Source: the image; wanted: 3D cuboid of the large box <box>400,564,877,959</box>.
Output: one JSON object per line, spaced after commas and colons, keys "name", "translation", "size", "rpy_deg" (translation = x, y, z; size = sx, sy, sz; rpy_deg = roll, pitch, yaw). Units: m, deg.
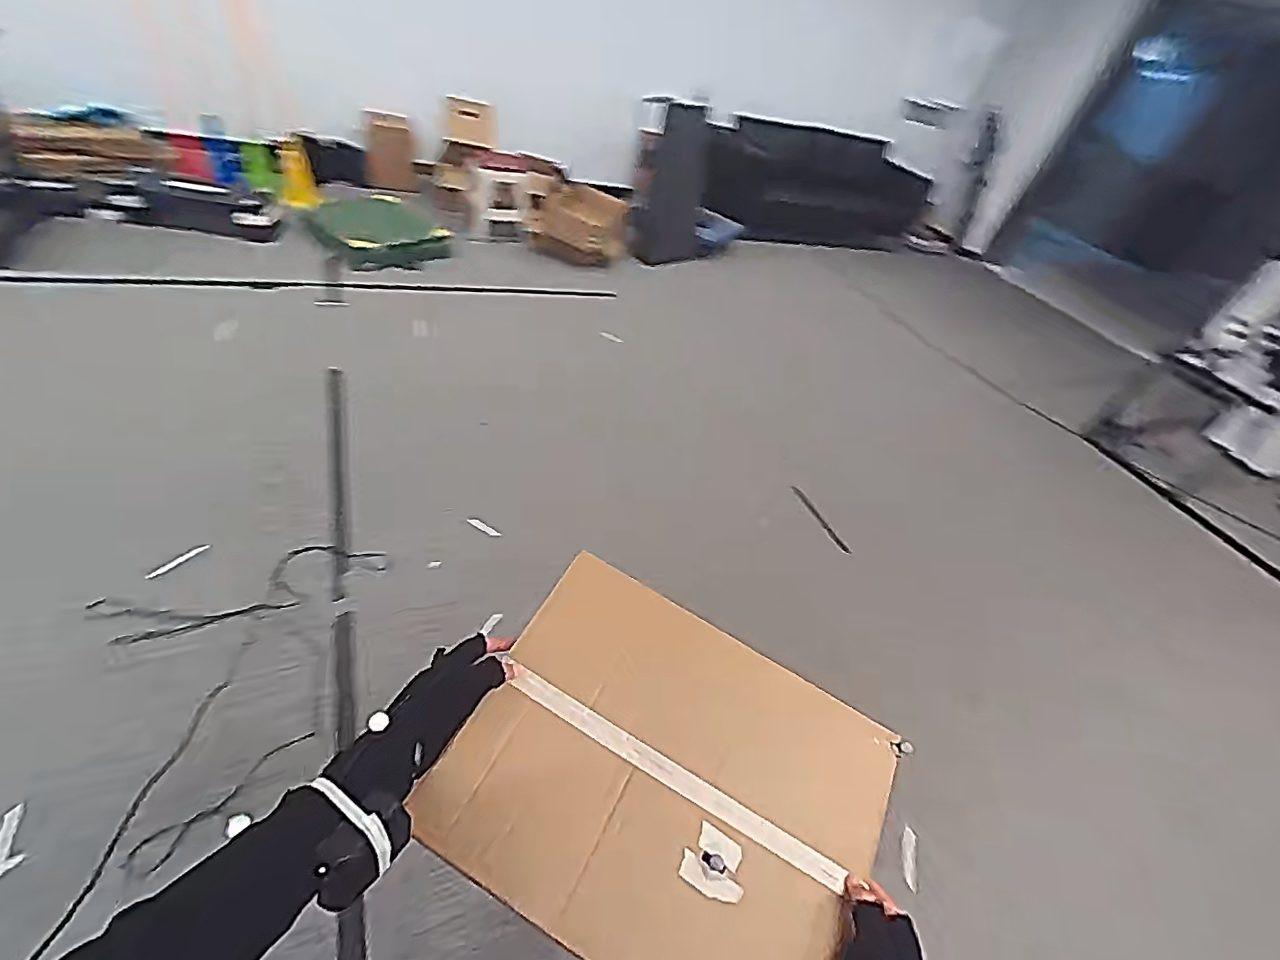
{"name": "large box", "translation": [-0.003, 0.374, 0.663], "size": [0.408, 0.320, 0.320], "rpy_deg": [28, 57, 7]}
